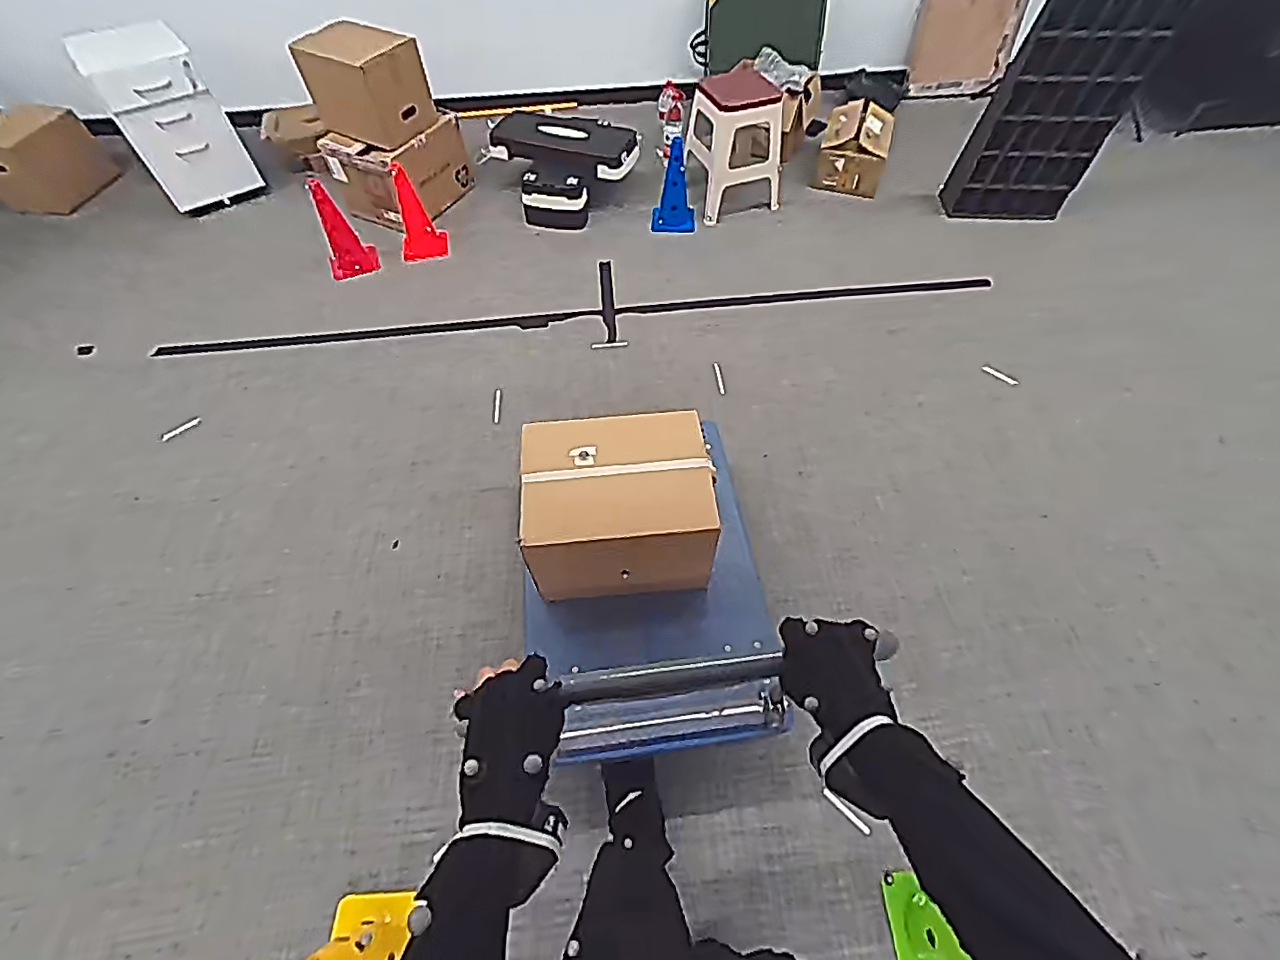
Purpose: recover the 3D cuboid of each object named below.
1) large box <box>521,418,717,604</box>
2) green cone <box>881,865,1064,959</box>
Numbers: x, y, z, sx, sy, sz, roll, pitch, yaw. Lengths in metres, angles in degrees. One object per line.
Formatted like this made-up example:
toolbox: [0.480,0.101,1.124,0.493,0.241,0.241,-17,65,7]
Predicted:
large box: [-0.051,0.083,1.291,0.408,0.320,0.320,-6,57,-2]
green cone: [0.609,0.810,0.956,0.202,0.368,0.200,-1,56,-1]
